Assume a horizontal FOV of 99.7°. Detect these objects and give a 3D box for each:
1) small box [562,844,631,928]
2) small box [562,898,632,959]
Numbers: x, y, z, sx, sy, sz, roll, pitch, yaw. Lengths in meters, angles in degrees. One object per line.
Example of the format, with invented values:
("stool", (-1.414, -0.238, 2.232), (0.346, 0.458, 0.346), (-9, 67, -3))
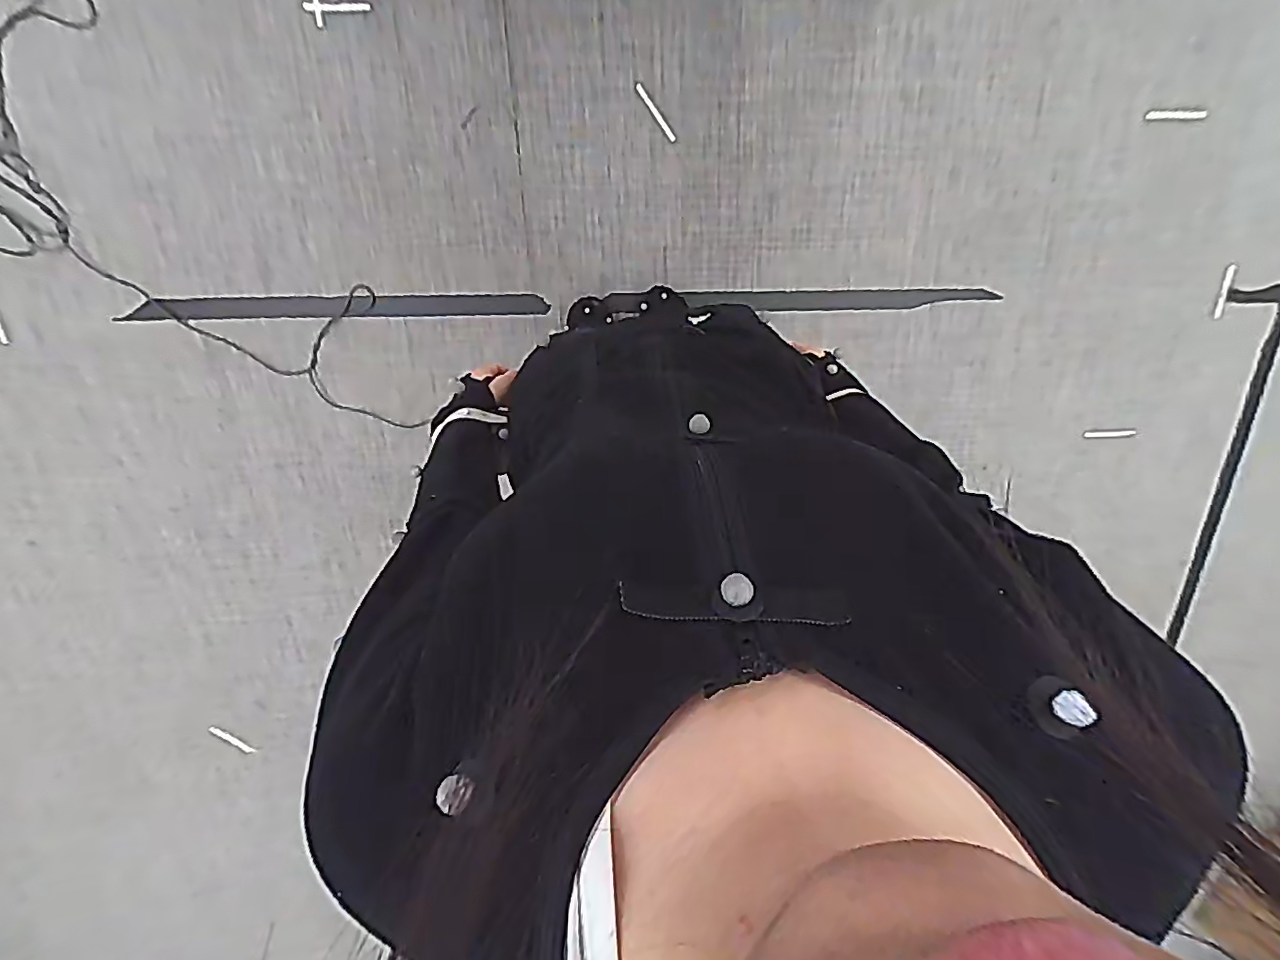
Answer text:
("small box", (-0.120, 1.157, 1.513), (0.179, 0.176, 0.168), (-3, 108, -2))
("small box", (-0.104, 1.201, 1.358), (0.168, 0.176, 0.179), (-3, 107, -3))
